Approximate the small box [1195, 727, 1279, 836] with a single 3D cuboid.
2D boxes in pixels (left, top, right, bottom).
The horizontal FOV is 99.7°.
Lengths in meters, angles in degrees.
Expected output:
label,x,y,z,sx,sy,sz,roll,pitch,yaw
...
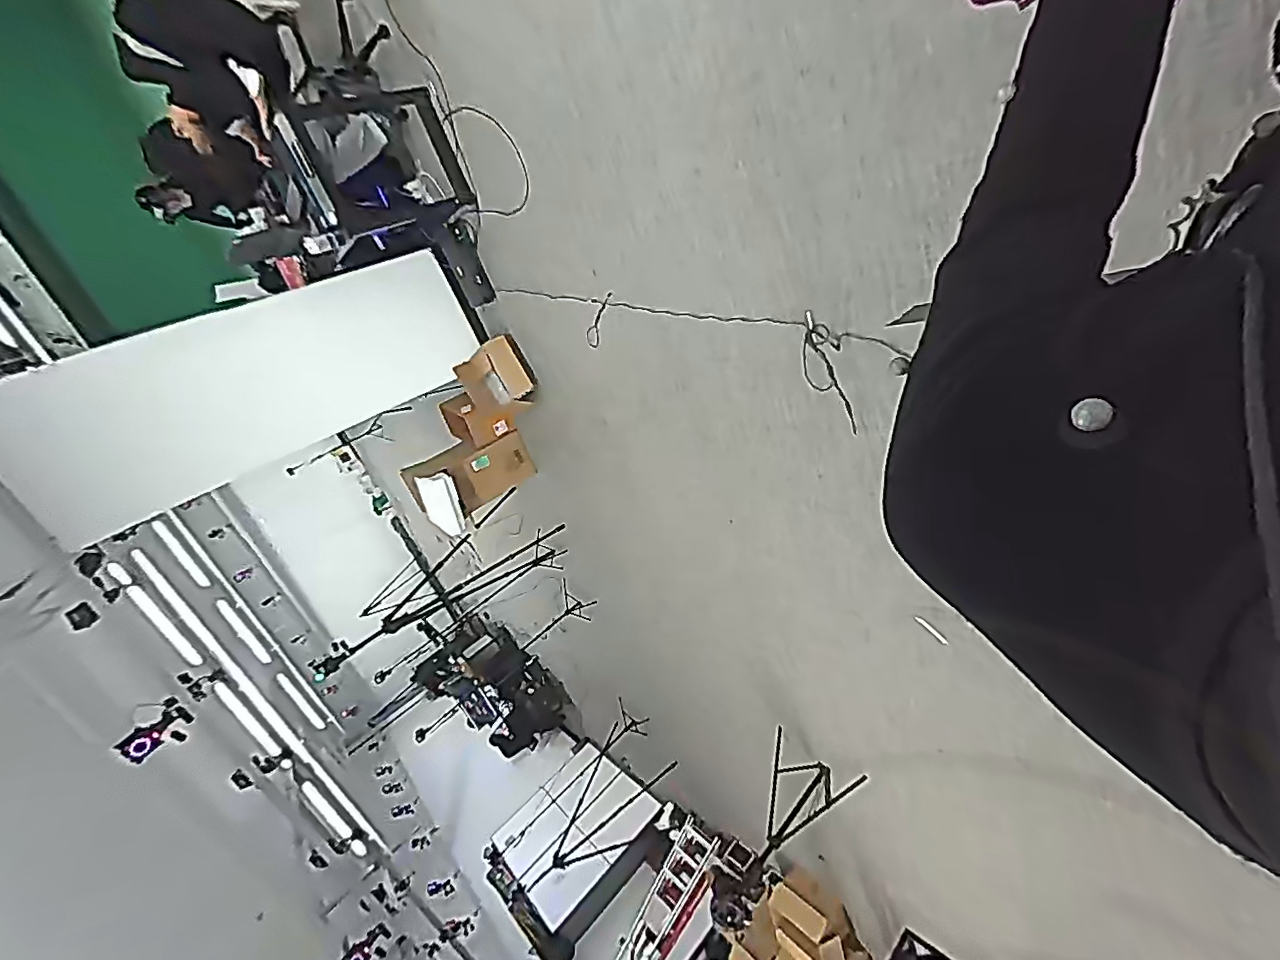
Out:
label,x,y,z,sx,sy,sz,roll,pitch,yaw
small box,1.719,0.848,1.539,0.168,0.176,0.179,12,131,50
